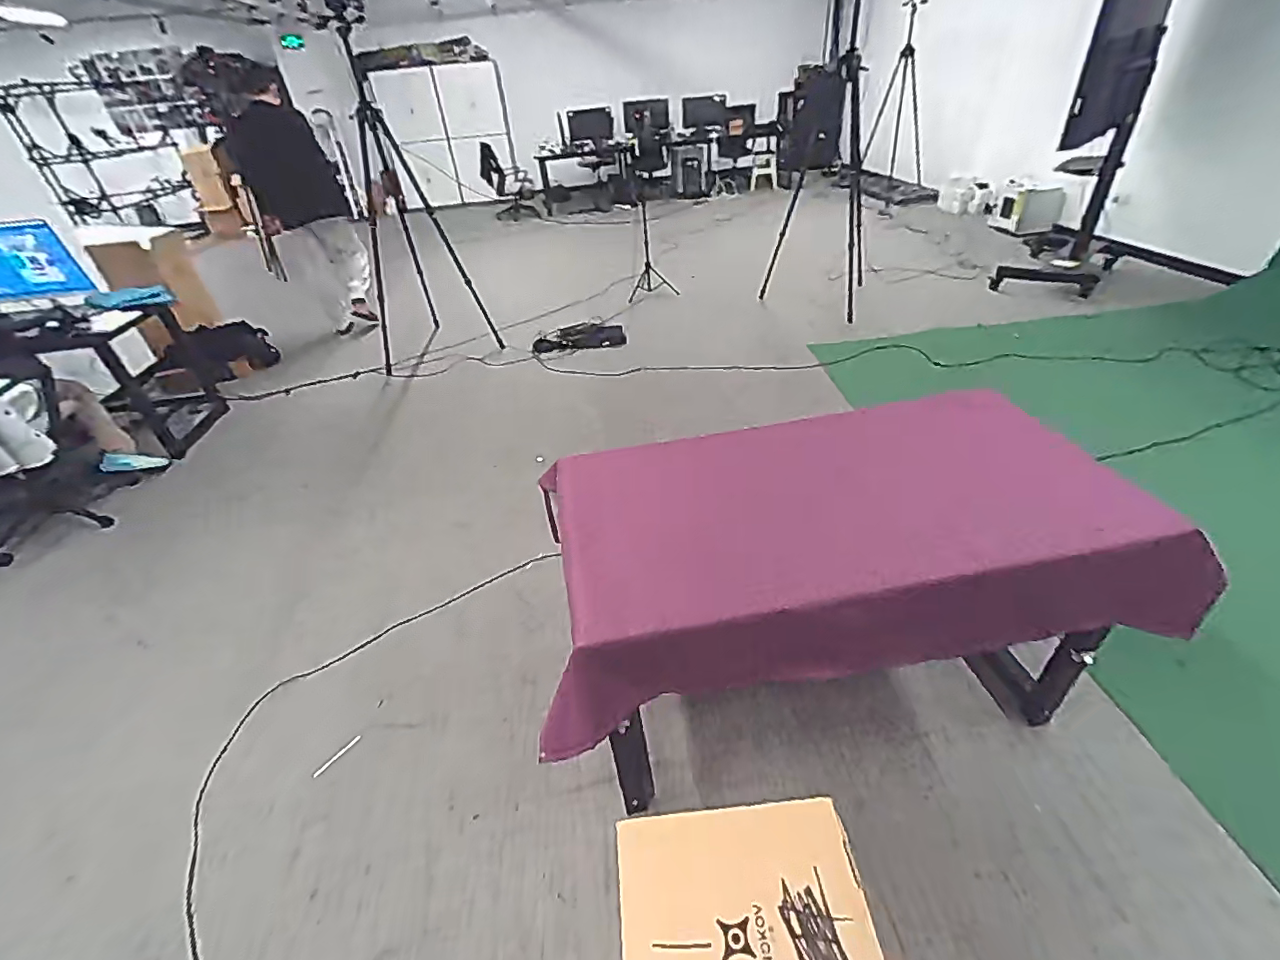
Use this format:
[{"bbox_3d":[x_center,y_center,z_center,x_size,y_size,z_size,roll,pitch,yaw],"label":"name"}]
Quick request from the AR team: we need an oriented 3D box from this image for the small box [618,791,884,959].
[{"bbox_3d":[0.078,0.371,0.424,0.179,0.176,0.168,-6,39,-1],"label":"small box"}]
